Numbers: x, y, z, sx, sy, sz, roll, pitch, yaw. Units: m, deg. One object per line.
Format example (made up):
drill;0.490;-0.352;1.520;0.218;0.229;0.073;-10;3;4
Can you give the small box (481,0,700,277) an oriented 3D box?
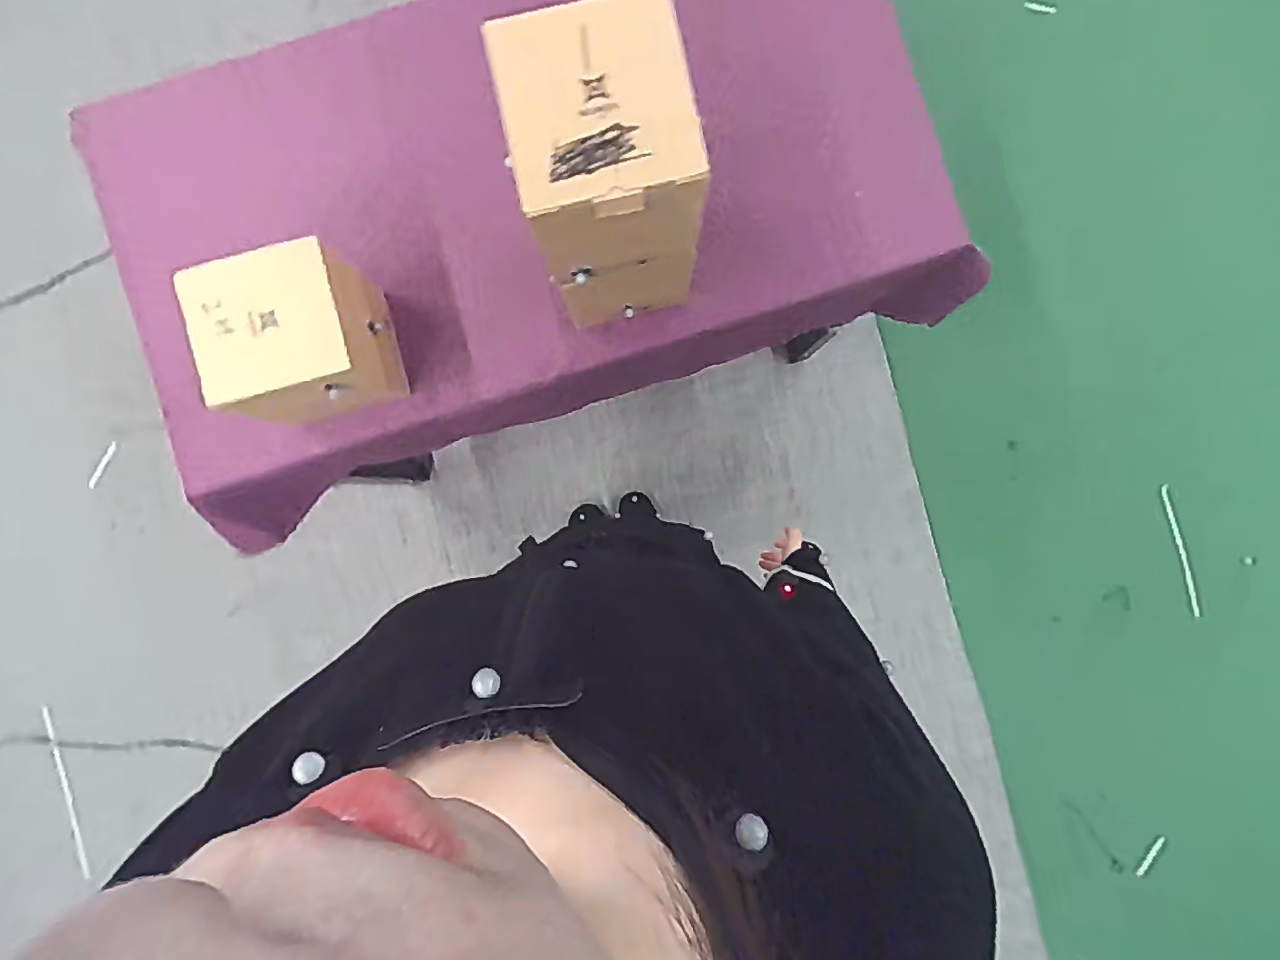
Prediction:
small box;-0.040;-0.326;0.549;0.168;0.176;0.179;-13;88;1

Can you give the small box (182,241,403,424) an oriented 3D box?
small box;-0.438;-0.182;0.716;0.179;0.176;0.168;-15;88;0
